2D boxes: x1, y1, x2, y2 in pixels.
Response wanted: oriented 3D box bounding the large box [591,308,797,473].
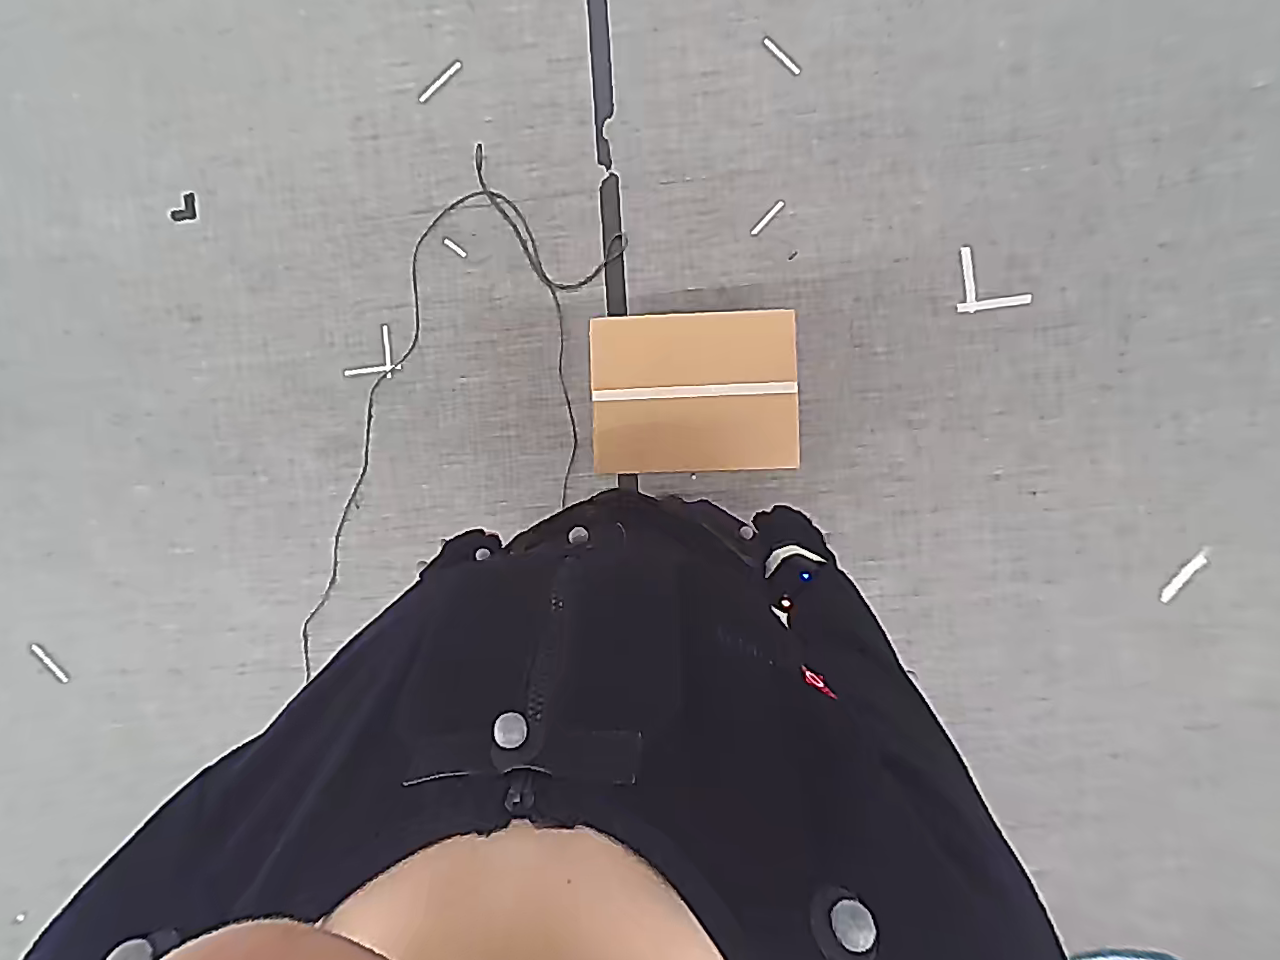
[{"bbox_3d":[0.112,-0.178,1.218,0.408,0.320,0.320,-2,91,3],"label":"large box"}]
